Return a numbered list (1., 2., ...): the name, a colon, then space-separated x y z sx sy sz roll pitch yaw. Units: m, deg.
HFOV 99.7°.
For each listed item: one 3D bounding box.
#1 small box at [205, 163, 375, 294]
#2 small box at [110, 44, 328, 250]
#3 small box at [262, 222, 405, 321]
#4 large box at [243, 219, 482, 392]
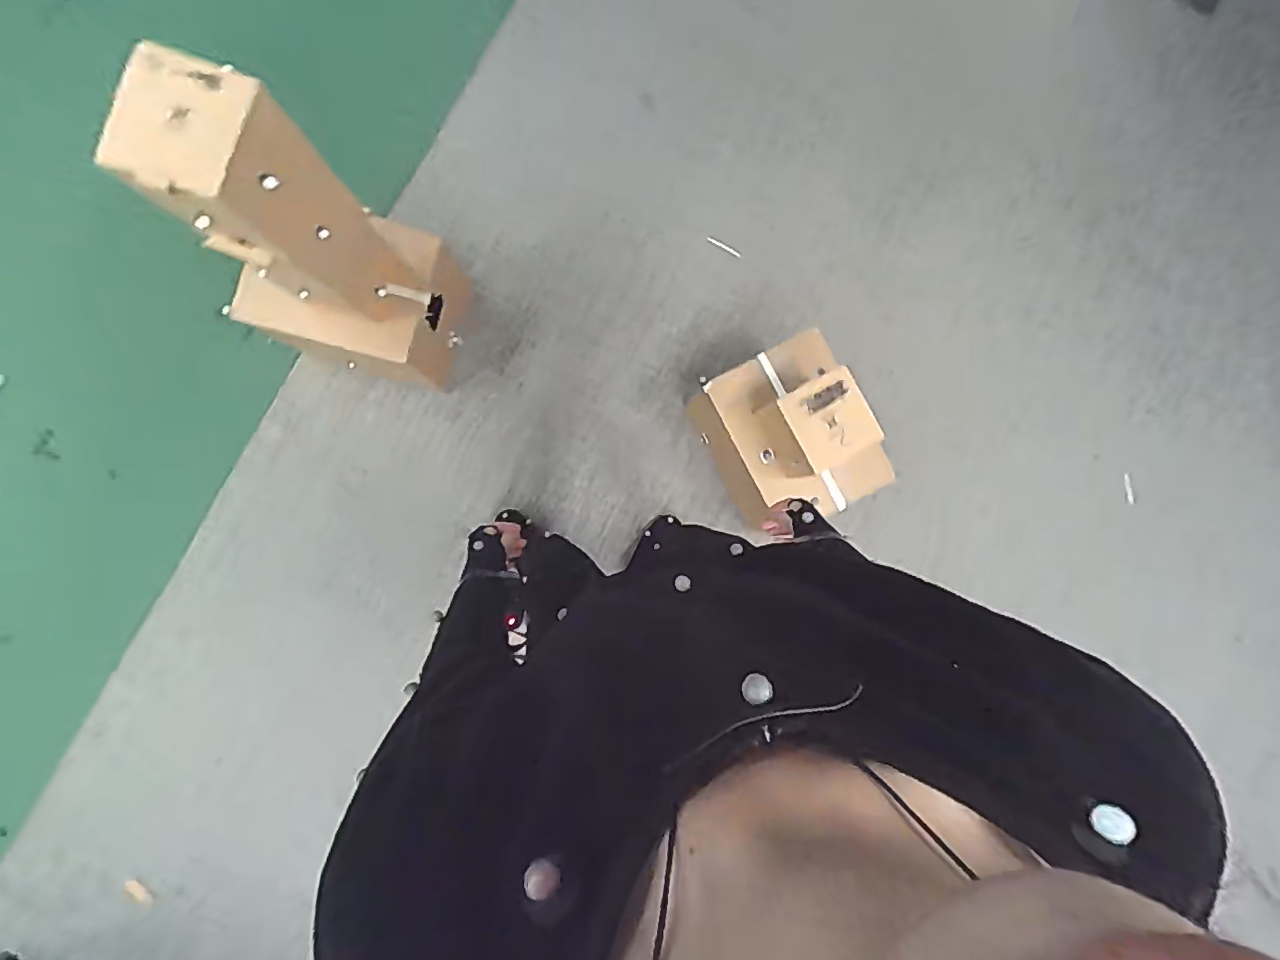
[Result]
1. small box: -0.606 -0.461 0.963 0.168 0.176 0.179 20 87 -2
2. small box: -0.601 -0.473 0.799 0.168 0.176 0.179 19 88 -2
3. small box: -0.626 -0.451 1.126 0.179 0.176 0.168 18 87 -2
4. large box: -0.665 -0.444 1.369 0.408 0.320 0.320 15 85 -1
